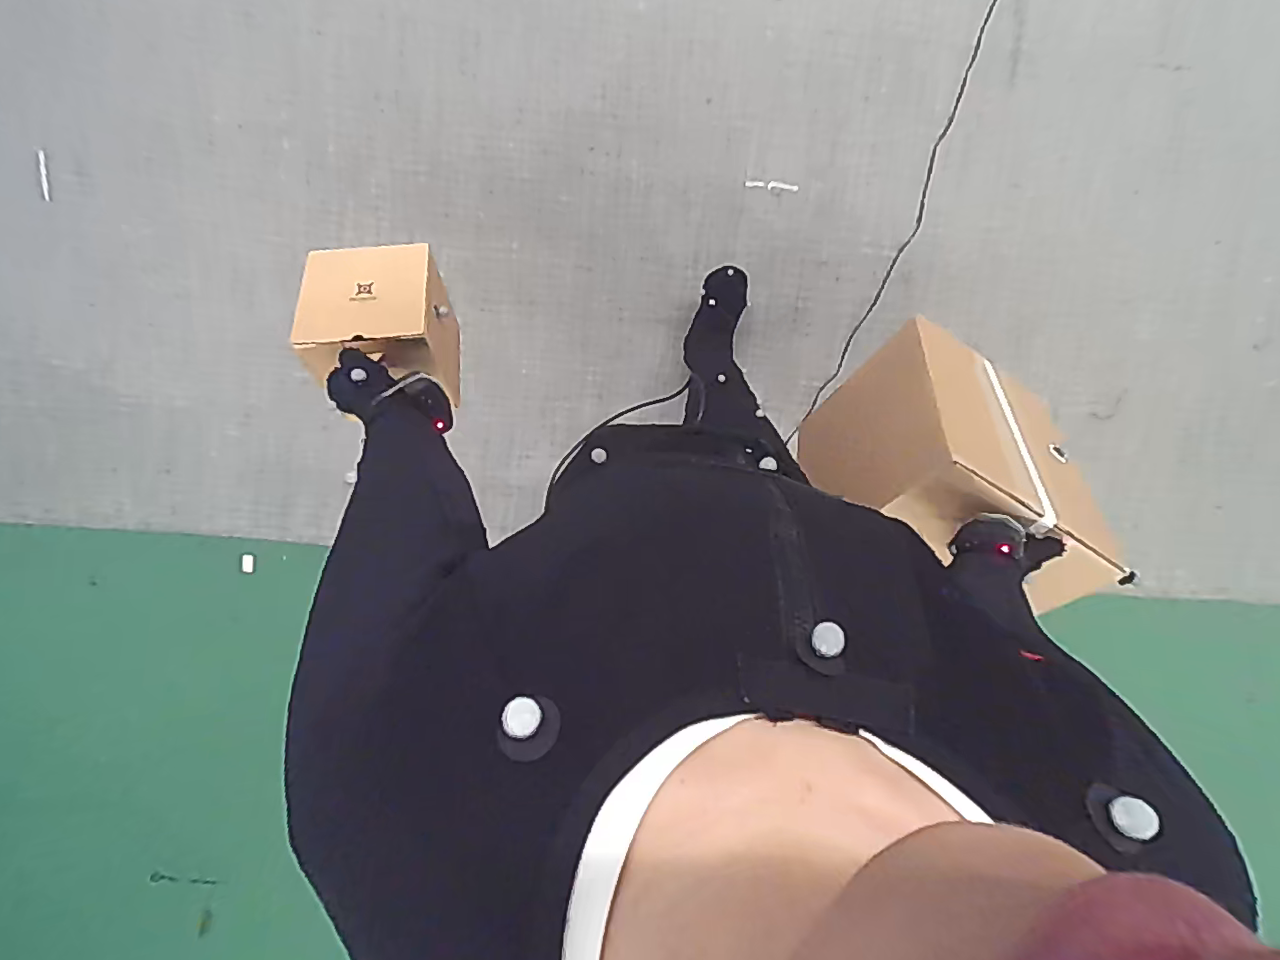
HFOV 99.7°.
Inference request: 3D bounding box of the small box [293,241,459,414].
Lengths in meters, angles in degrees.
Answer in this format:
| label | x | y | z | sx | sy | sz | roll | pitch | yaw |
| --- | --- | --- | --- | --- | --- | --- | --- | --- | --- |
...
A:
| label | x | y | z | sx | sy | sz | roll | pitch | yaw |
| --- | --- | --- | --- | --- | --- | --- | --- | --- | --- |
| small box | -0.372 | -0.220 | 0.796 | 0.168 | 0.176 | 0.179 | -7 | 63 | -5 |
